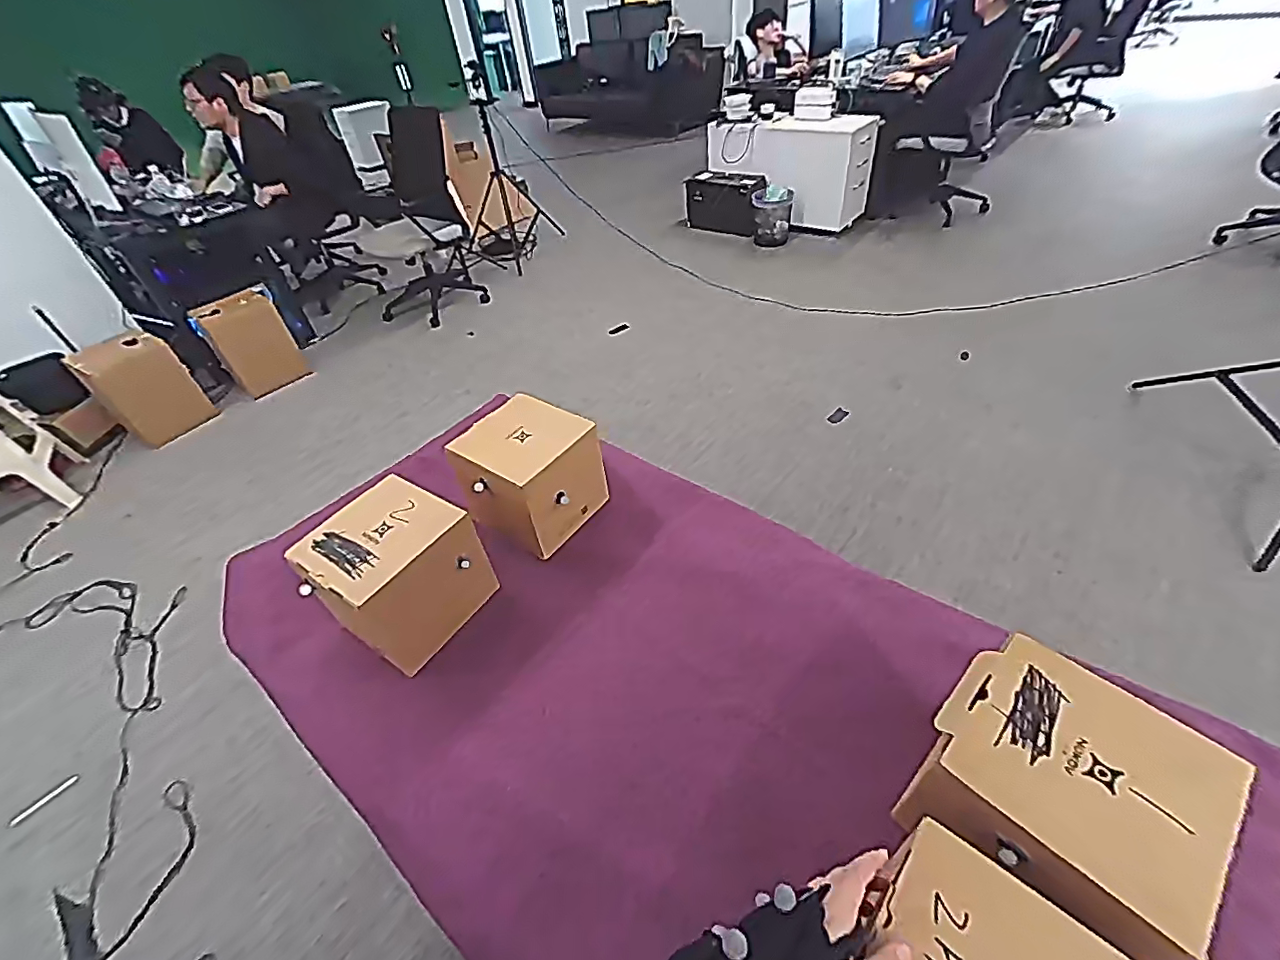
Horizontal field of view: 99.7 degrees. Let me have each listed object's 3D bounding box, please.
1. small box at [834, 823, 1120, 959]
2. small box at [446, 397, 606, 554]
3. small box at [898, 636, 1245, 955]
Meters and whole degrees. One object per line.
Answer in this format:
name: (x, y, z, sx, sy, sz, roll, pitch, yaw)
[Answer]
small box: (0.239, 0.402, 0.390, 0.179, 0.176, 0.168, 28, 52, 33)
small box: (-0.174, -0.004, 0.884, 0.179, 0.176, 0.168, 24, 51, 29)
small box: (0.367, 0.287, 0.493, 0.168, 0.176, 0.179, -37, 52, -26)
